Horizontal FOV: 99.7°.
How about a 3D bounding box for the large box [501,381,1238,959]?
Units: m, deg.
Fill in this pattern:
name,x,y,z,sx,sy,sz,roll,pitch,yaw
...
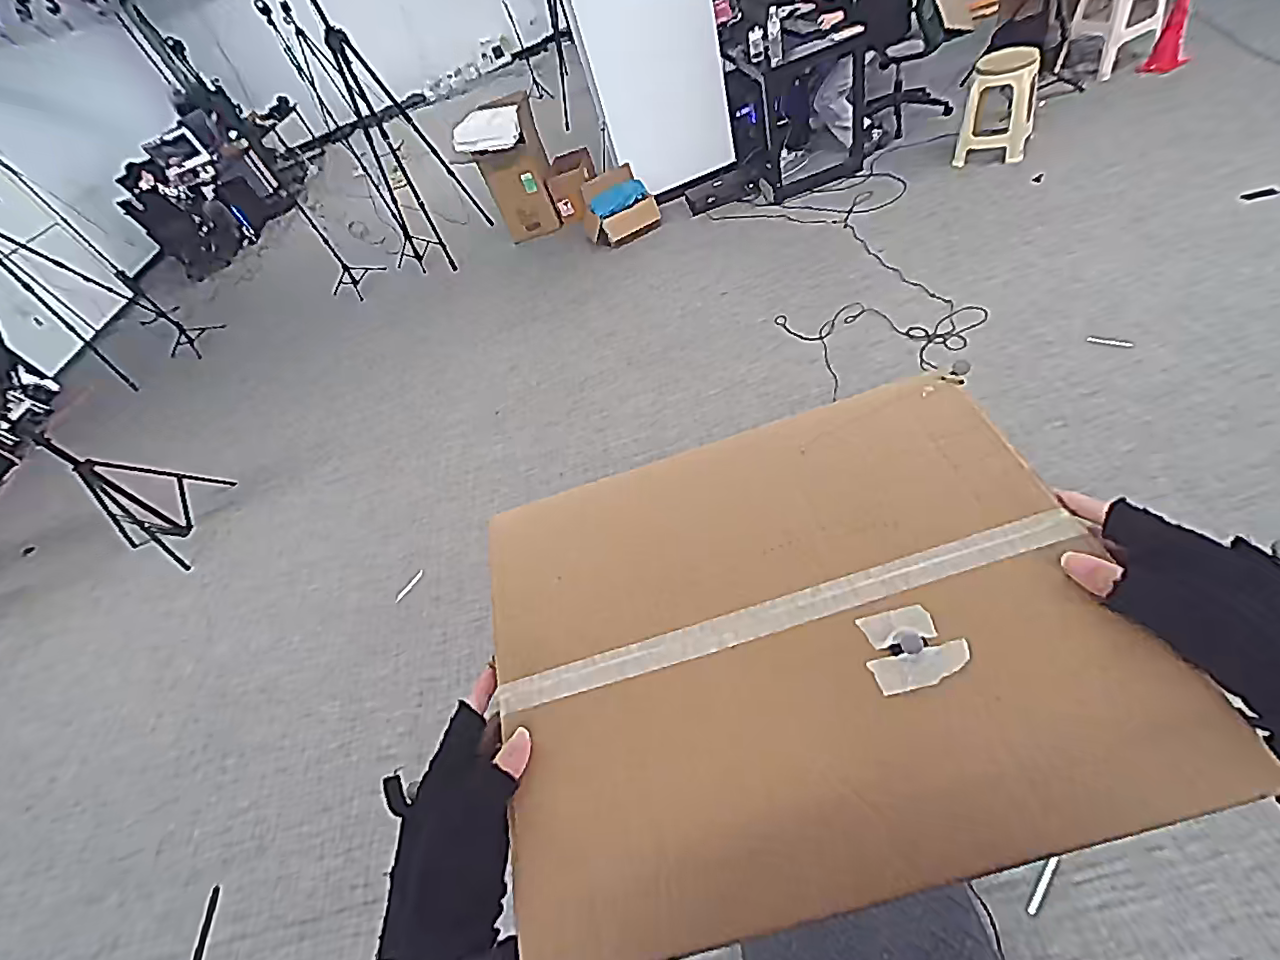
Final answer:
name,x,y,z,sx,sy,sz,roll,pitch,yaw
large box,0.130,0.177,0.501,0.408,0.320,0.320,-18,55,3
